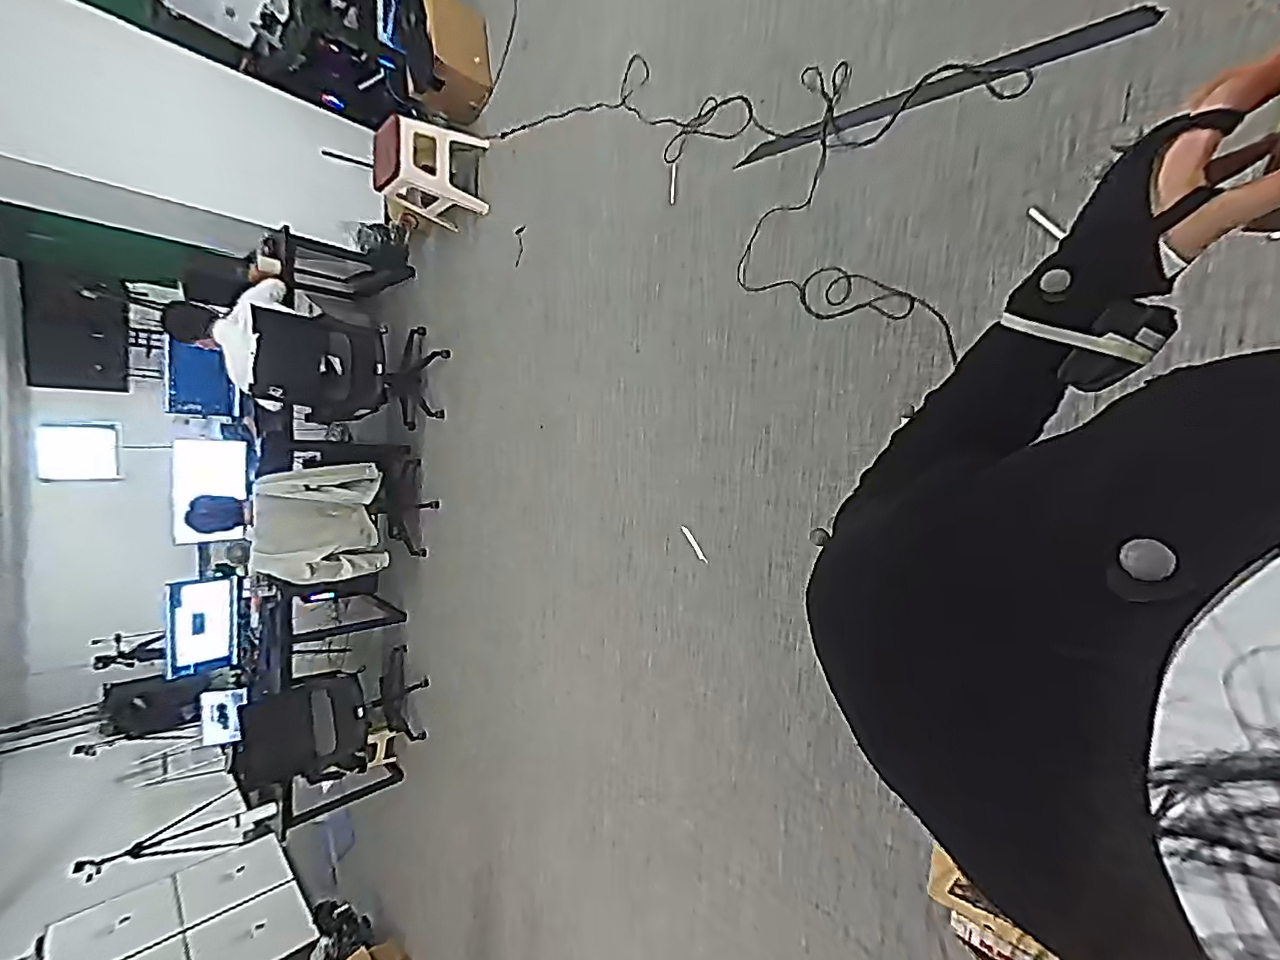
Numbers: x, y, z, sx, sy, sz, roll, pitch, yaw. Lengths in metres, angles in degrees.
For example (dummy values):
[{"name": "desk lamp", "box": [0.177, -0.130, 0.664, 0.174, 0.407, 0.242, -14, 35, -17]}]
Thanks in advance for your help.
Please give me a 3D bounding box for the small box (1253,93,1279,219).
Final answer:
[{"name": "small box", "box": [0.451, -0.253, 0.260, 0.168, 0.176, 0.179, 16, 99, 39]}]
